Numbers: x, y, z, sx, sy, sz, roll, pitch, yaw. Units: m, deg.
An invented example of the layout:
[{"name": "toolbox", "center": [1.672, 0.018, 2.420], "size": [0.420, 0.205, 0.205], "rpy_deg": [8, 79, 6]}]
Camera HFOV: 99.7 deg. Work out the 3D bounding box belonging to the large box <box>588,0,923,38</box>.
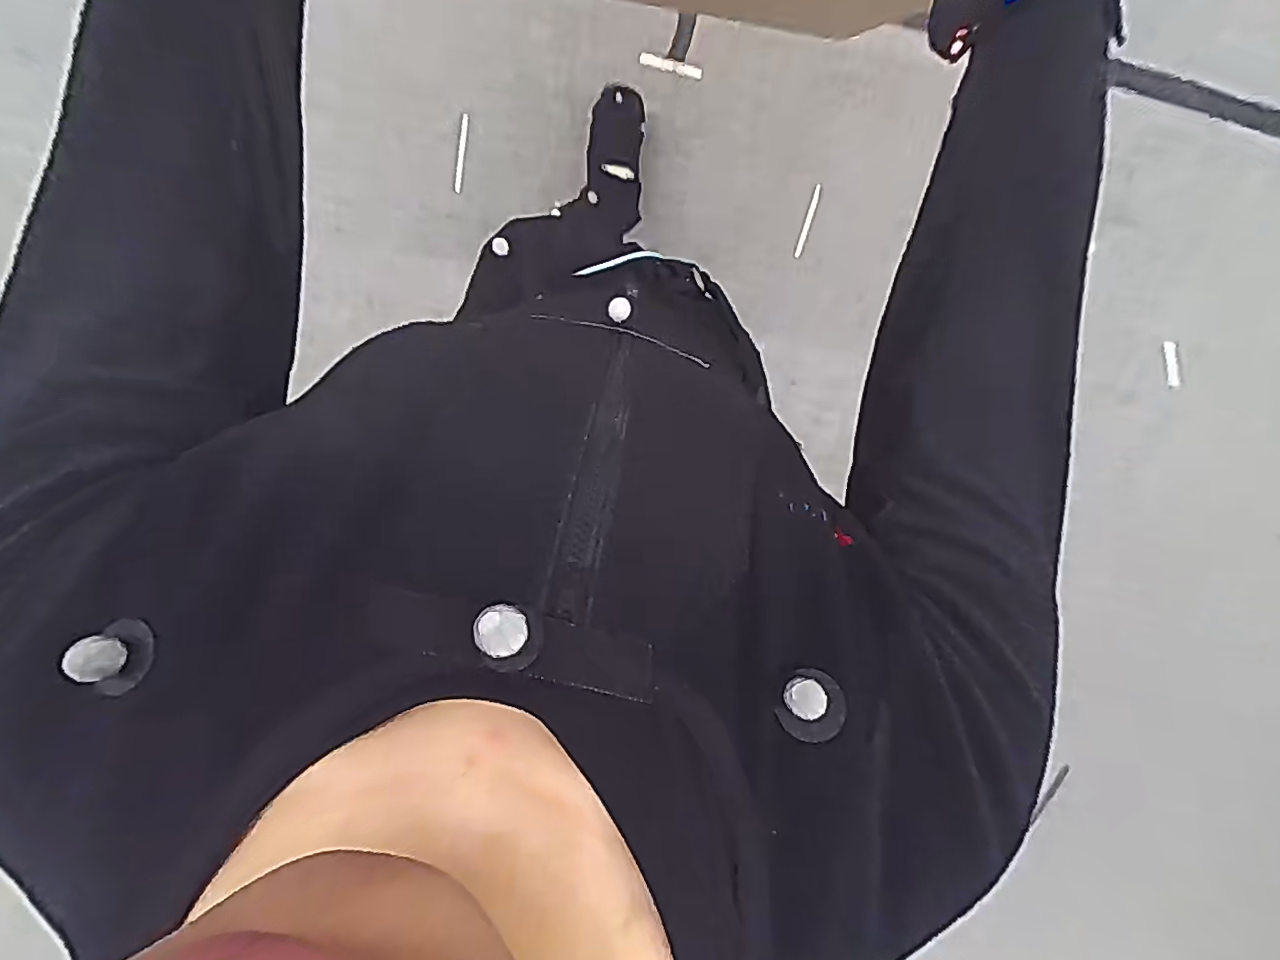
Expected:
[{"name": "large box", "center": [0.046, -0.566, 0.400], "size": [0.408, 0.320, 0.320], "rpy_deg": [7, 125, -4]}]
